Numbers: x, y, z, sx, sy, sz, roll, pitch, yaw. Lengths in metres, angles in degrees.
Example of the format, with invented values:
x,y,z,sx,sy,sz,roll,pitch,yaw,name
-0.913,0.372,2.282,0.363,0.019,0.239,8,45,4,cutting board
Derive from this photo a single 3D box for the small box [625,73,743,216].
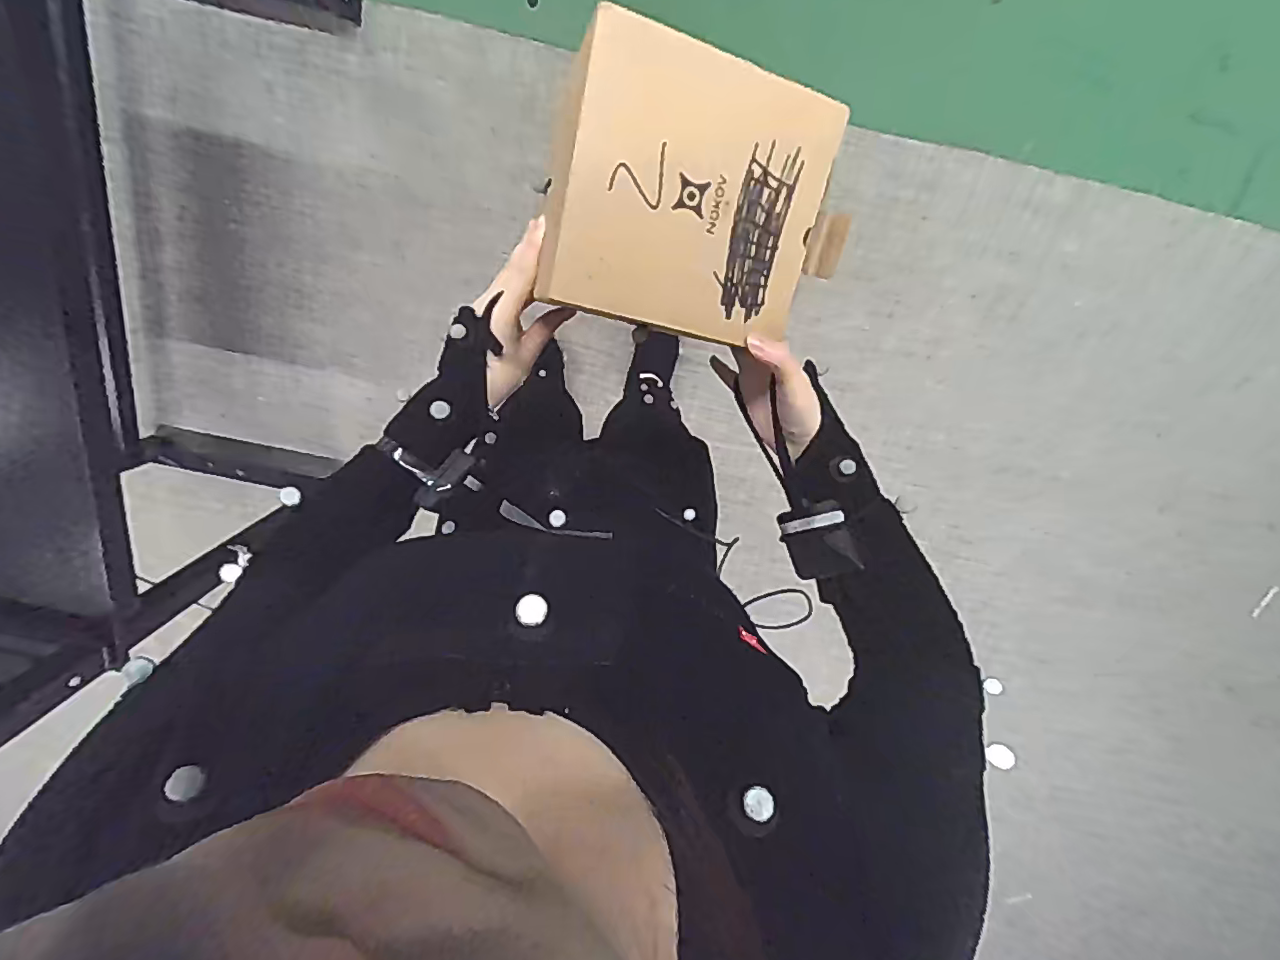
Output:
x,y,z,sx,sy,sz,roll,pitch,yaw,name
0.077,-0.604,1.002,0.168,0.176,0.179,14,111,-4,small box
